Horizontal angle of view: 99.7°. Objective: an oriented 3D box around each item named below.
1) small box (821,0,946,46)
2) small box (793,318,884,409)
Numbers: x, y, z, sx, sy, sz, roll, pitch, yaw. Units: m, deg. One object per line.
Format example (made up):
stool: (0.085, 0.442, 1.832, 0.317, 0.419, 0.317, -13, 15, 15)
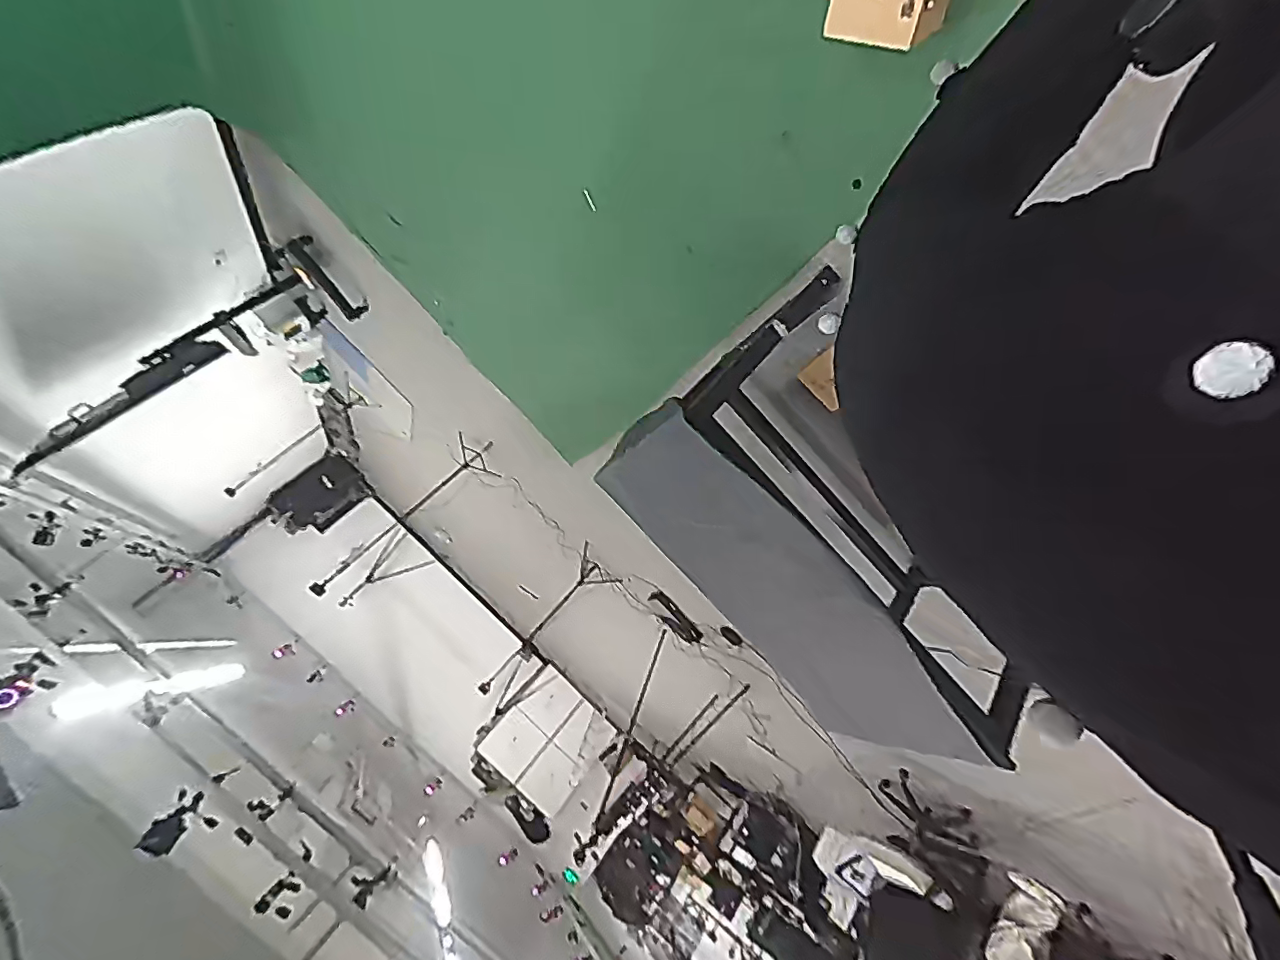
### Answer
small box: (0.469, -0.937, 0.996, 0.179, 0.176, 0.168, 32, 150, 22)
small box: (0.606, -0.352, 1.630, 0.168, 0.176, 0.179, 45, 152, -2)
